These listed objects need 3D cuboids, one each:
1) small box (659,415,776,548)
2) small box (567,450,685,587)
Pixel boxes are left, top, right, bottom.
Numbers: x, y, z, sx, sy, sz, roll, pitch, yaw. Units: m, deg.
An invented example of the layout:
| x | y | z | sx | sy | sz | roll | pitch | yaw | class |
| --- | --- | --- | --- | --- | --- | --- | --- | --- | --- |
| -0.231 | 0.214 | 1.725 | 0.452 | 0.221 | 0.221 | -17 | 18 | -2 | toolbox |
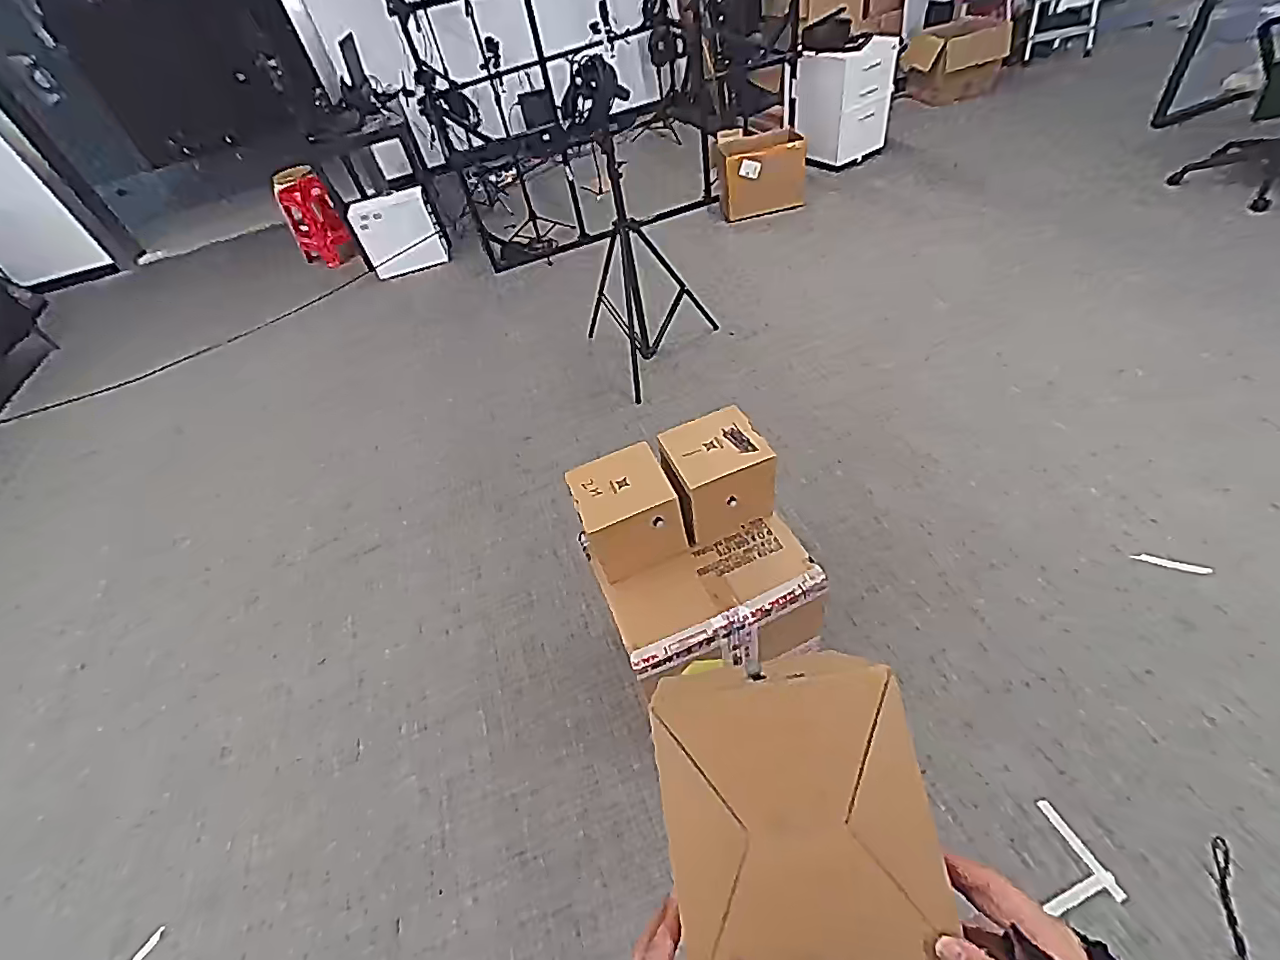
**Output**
| x | y | z | sx | sy | sz | roll | pitch | yaw | class |
| --- | --- | --- | --- | --- | --- | --- | --- | --- | --- |
| 0.153 | 0.005 | 1.085 | 0.179 | 0.176 | 0.168 | -21 | 47 | -8 | small box |
| -0.021 | 0.077 | 1.057 | 0.179 | 0.176 | 0.168 | -23 | 47 | -5 | small box |
